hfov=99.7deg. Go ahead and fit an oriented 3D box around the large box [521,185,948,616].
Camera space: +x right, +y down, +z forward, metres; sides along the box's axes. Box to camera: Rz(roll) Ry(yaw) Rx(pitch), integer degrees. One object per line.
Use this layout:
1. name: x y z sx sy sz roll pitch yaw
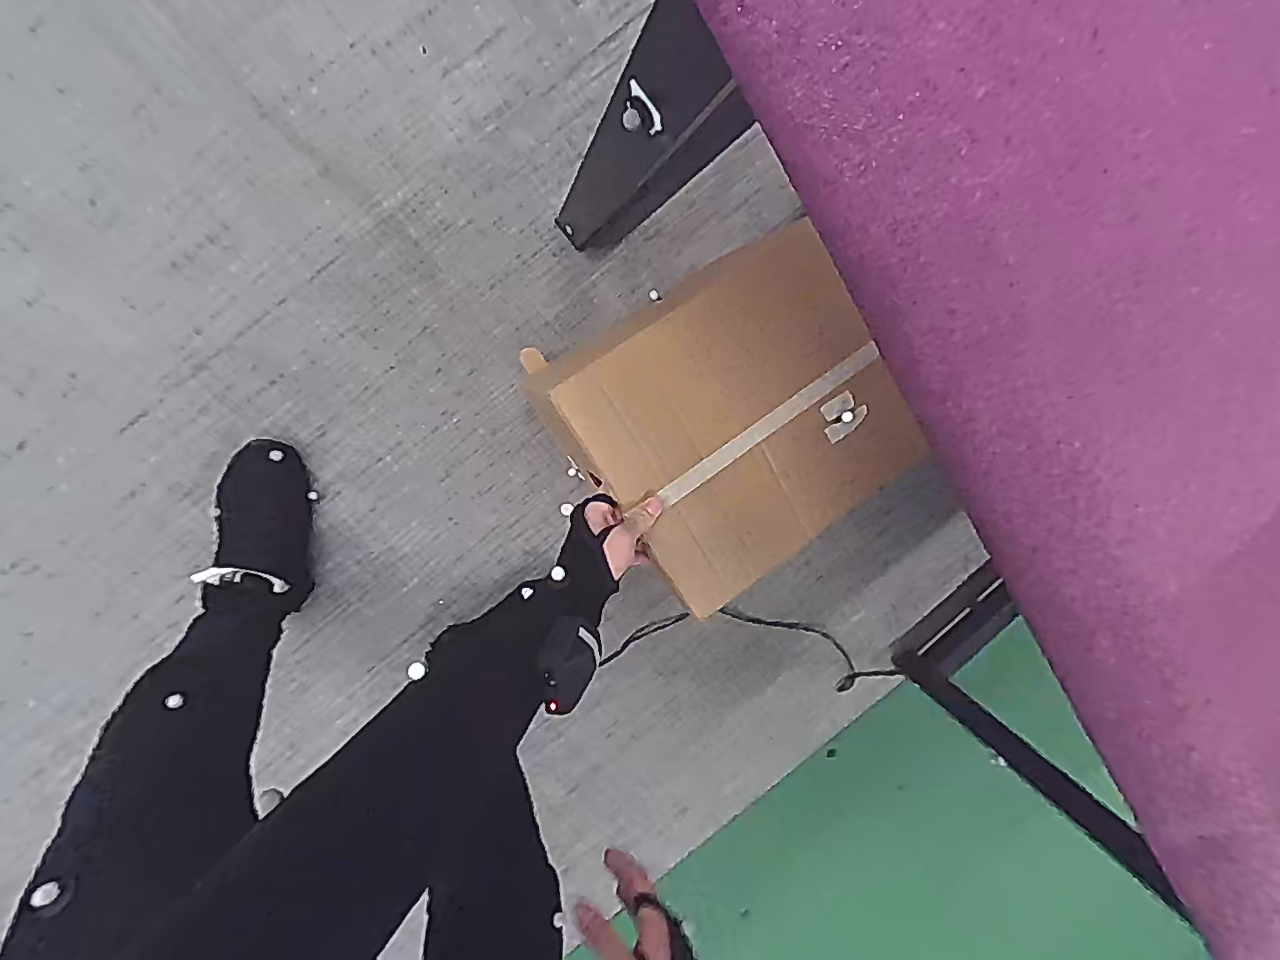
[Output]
1. large box: 0.101 -0.104 0.729 0.408 0.320 0.320 -36 110 -9
